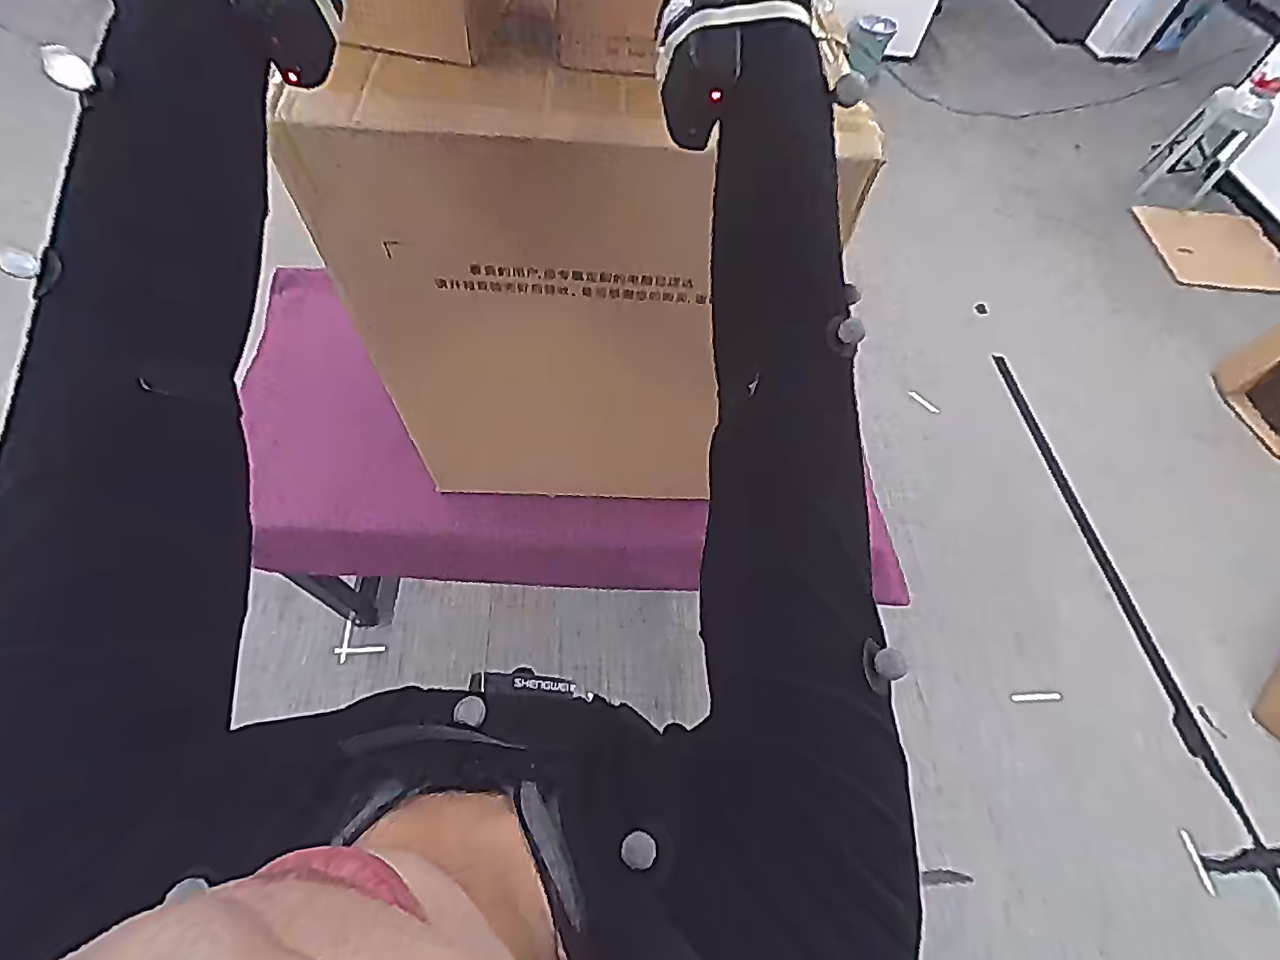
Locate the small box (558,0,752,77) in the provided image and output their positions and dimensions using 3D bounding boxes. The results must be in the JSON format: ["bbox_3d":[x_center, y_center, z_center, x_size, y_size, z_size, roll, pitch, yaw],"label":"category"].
[{"bbox_3d":[0.014,-0.485,0.463,0.168,0.176,0.179,1,59,-4],"label":"small box"}]
